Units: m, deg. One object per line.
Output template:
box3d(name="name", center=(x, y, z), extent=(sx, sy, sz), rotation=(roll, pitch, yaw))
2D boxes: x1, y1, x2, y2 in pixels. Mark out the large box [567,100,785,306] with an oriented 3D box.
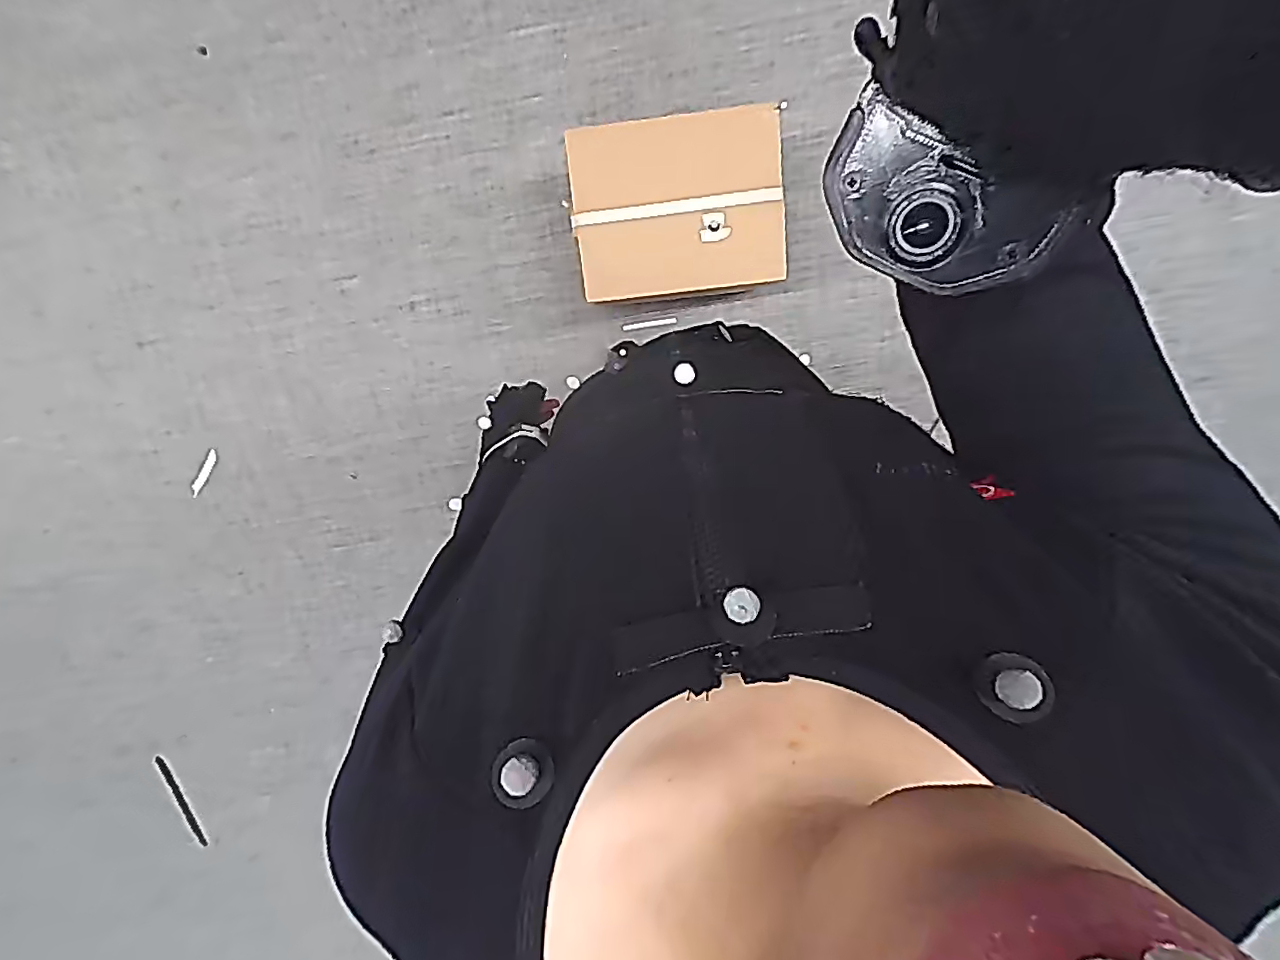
box3d(name="large box", center=(0.077, -0.574, 1.193), extent=(0.408, 0.320, 0.320), rotation=(-6, 106, 3))
